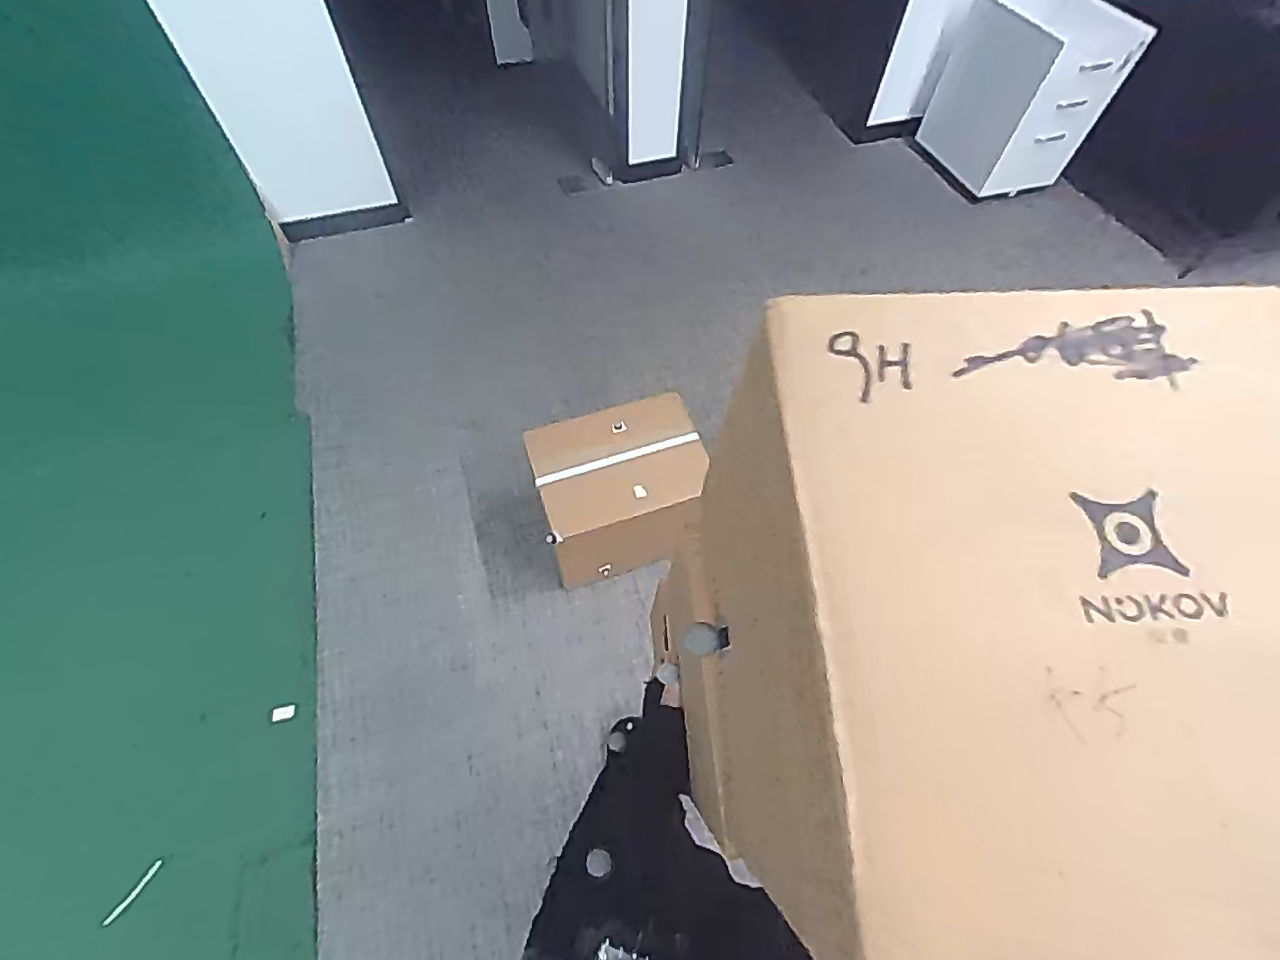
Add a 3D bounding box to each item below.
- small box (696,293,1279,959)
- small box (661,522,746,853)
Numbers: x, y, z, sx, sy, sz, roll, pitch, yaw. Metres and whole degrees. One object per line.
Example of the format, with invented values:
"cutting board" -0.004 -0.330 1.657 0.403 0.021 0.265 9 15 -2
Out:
"small box" 0.115 0.052 0.216 0.168 0.176 0.179 -1 69 -1
"small box" 0.115 0.121 0.363 0.179 0.176 0.168 -7 68 -4
